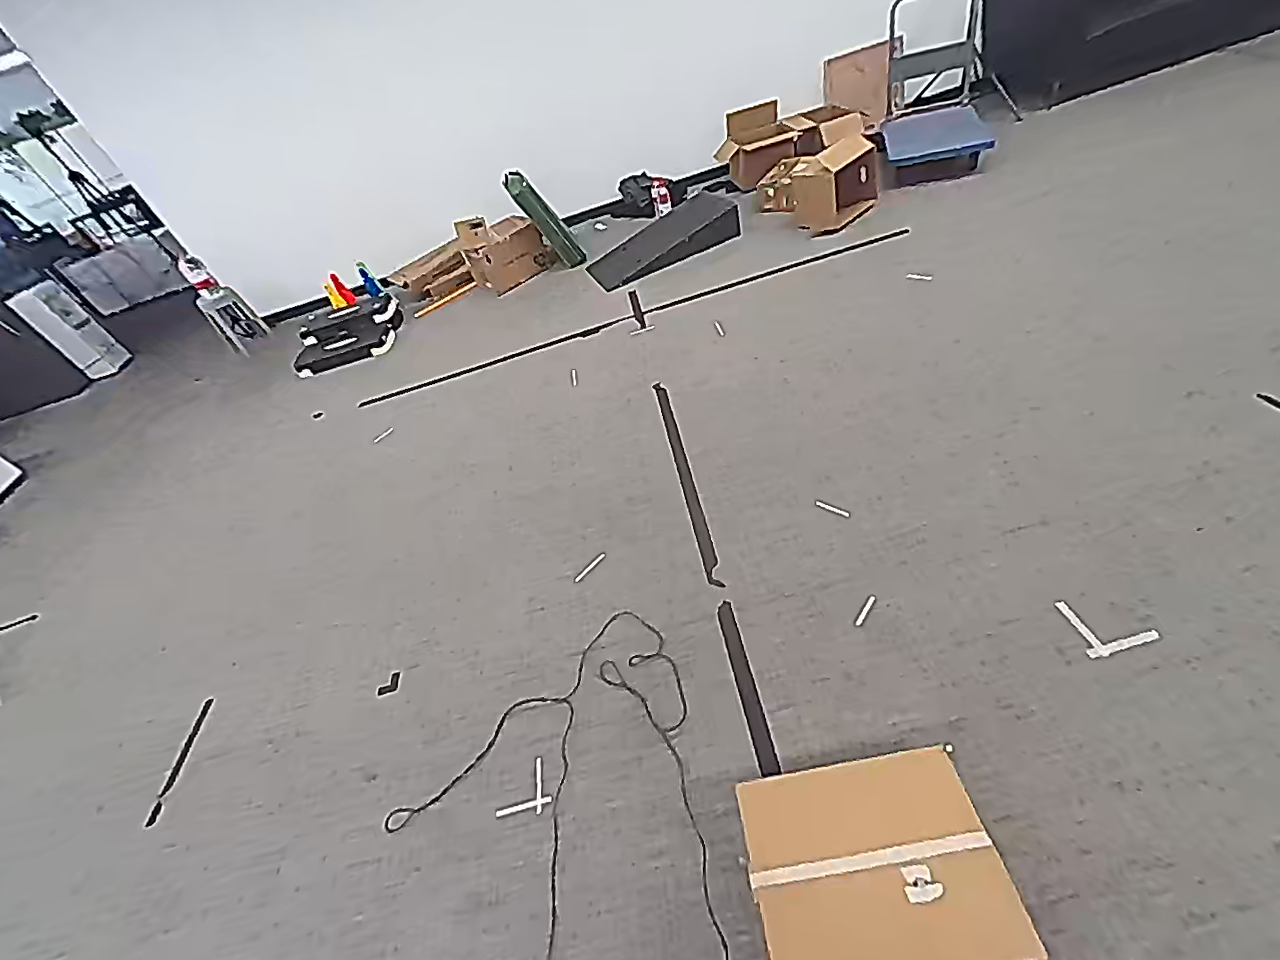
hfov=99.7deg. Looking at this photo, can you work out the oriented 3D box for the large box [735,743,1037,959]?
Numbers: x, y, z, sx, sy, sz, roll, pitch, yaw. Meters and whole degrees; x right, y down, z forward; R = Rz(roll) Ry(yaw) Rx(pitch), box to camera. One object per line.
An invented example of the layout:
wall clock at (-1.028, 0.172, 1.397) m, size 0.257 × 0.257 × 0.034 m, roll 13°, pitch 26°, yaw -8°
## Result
large box at (0.426, 0.759, 1.034) m, size 0.408 × 0.320 × 0.320 m, roll -14°, pitch 43°, yaw 5°
